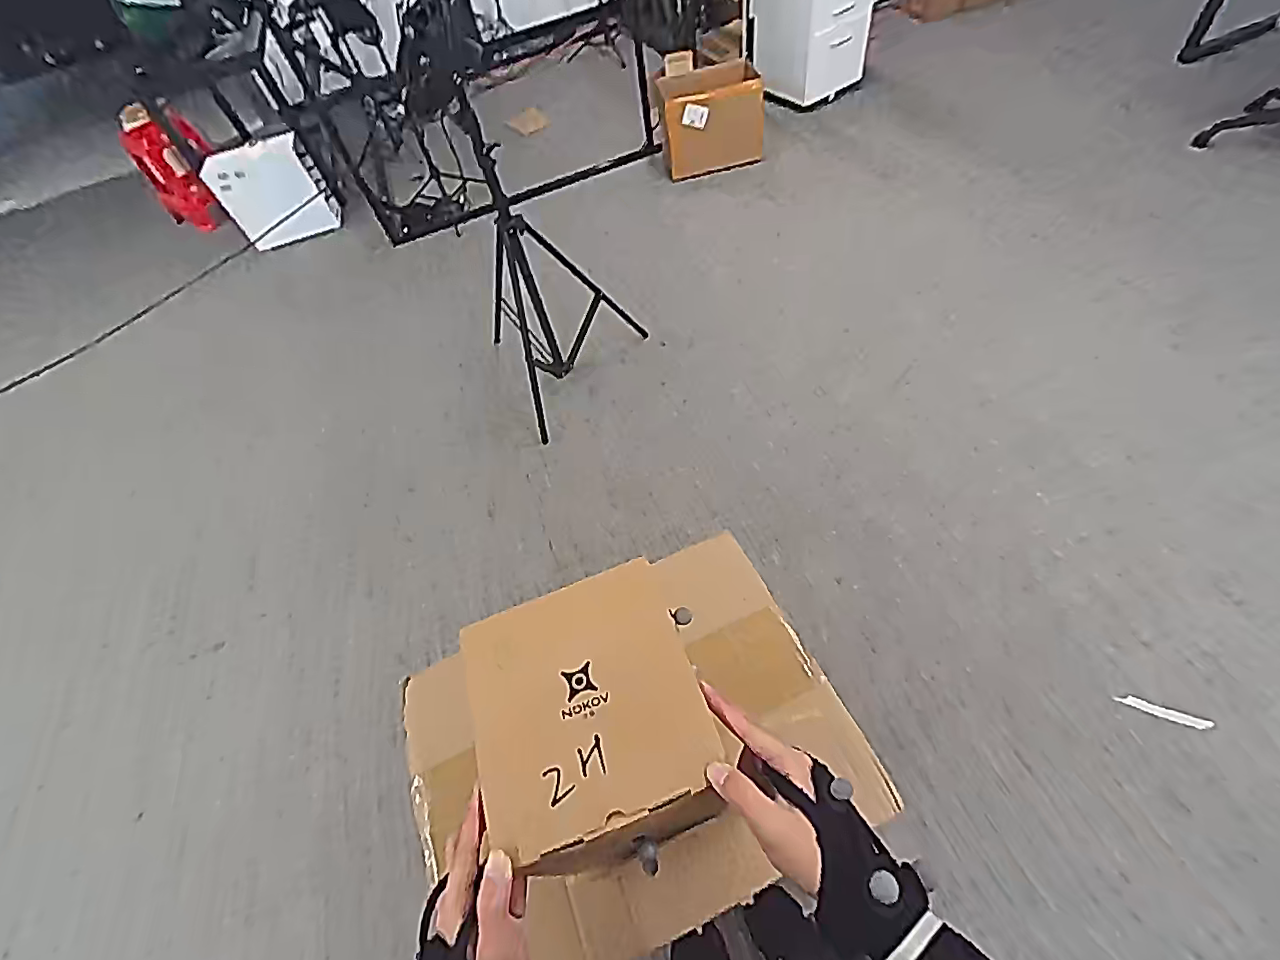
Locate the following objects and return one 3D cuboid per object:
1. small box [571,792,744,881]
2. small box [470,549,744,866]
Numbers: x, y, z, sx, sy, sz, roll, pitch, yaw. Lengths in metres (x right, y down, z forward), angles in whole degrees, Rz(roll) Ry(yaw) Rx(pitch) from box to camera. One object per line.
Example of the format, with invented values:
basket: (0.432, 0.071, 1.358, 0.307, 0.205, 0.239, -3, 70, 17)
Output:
small box: (0.003, 0.295, 0.581, 0.168, 0.176, 0.179, -23, 53, -5)
small box: (-0.023, 0.193, 0.453, 0.168, 0.176, 0.179, -21, 52, -3)
